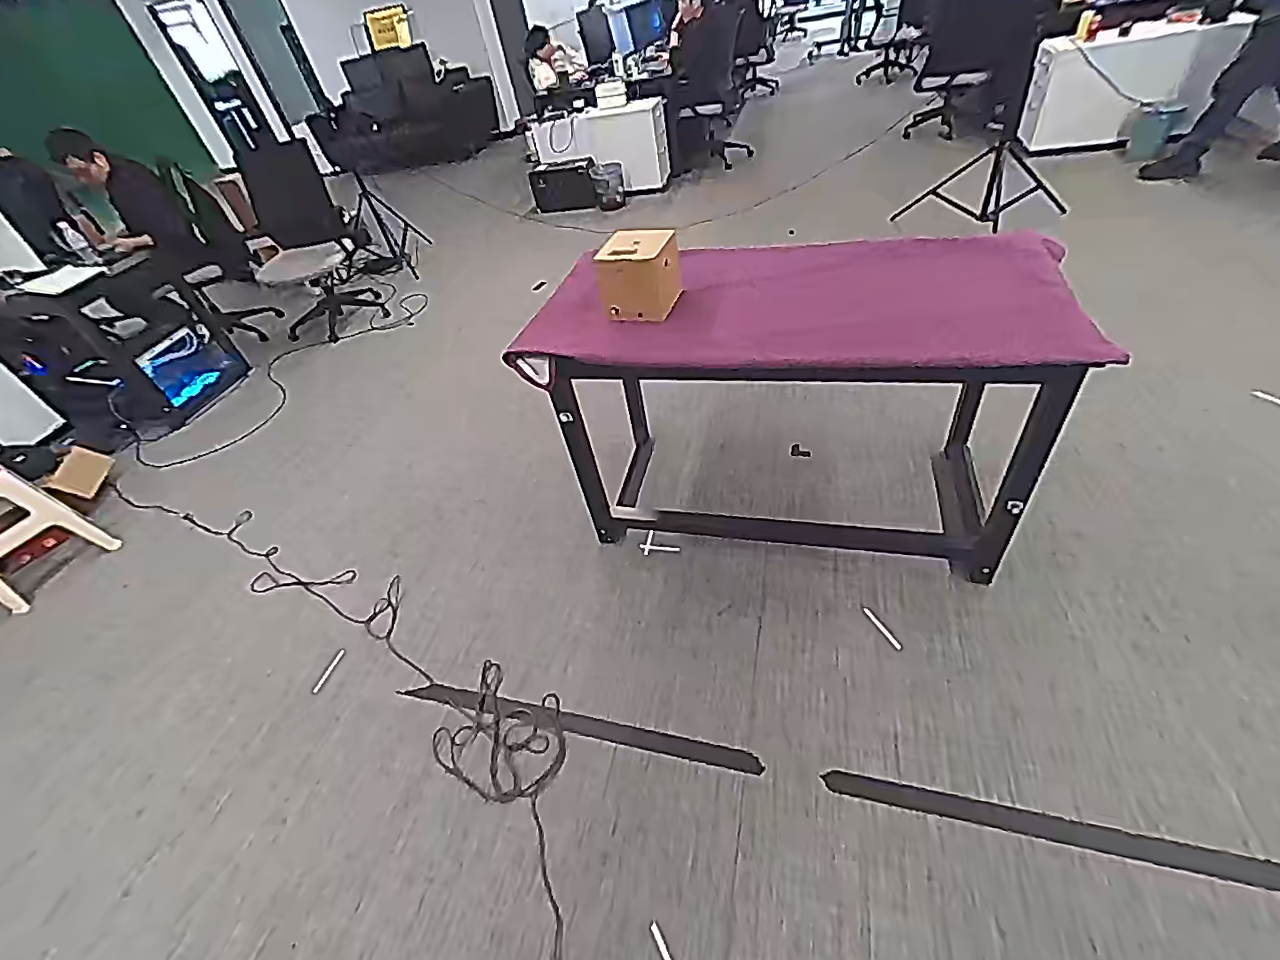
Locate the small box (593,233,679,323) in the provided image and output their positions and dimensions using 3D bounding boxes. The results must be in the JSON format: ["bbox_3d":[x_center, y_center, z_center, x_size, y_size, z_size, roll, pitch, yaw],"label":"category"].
[{"bbox_3d":[-0.002,-0.527,1.420,0.168,0.176,0.179,8,47,20],"label":"small box"}]
